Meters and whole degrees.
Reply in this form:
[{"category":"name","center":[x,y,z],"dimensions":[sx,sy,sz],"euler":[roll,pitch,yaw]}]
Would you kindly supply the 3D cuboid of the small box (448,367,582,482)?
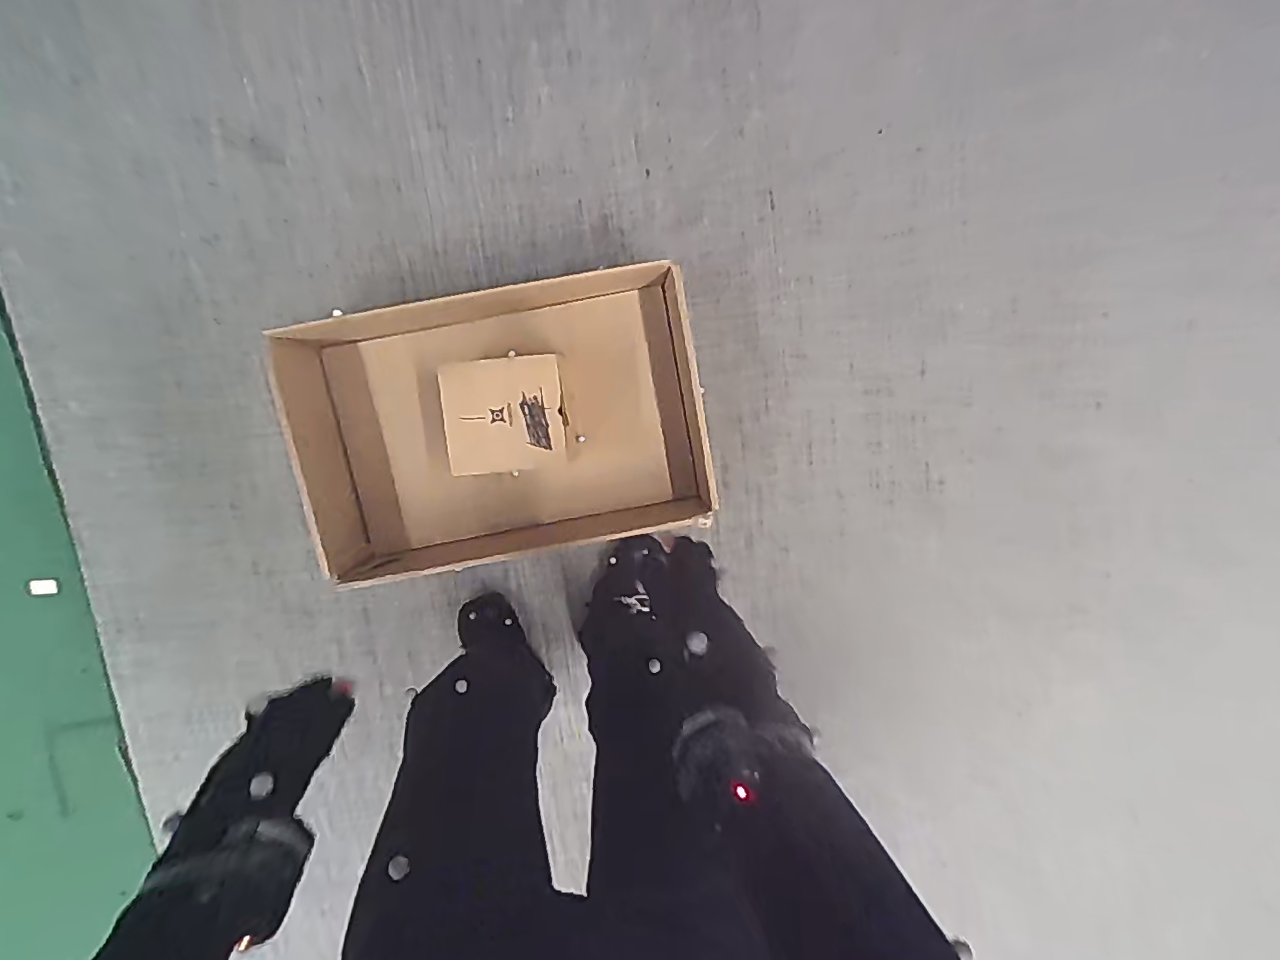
[{"category":"small box","center":[-0.191,-0.093,0.882],"dimensions":[0.179,0.176,0.168],"euler":[-4,97,2]}]
